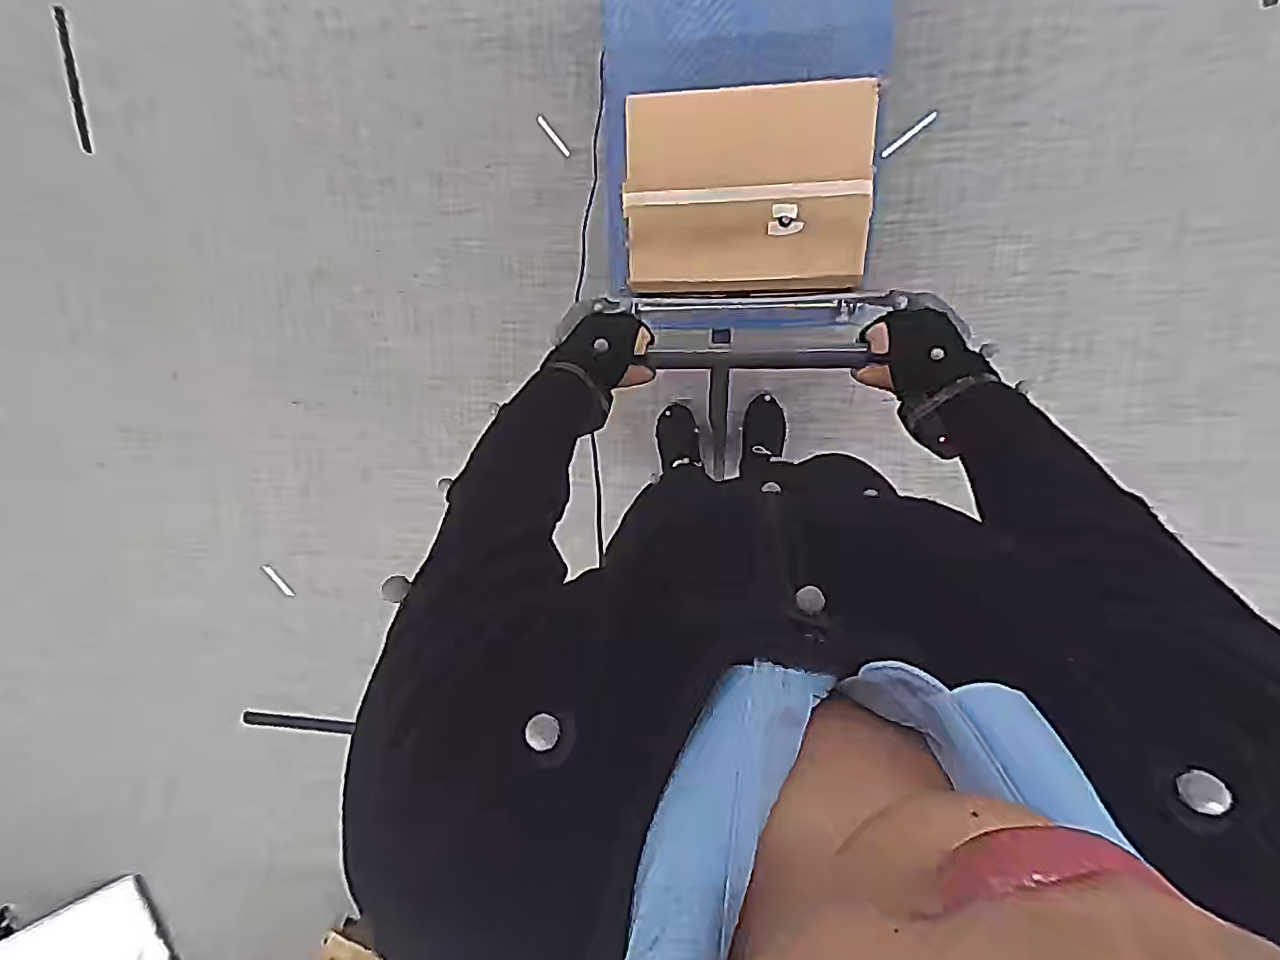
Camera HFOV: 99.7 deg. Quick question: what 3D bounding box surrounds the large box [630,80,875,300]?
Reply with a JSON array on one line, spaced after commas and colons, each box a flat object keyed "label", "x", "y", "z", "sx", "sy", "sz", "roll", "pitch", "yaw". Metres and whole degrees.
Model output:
[{"label": "large box", "x": 0.201, "y": -0.533, "z": 1.070, "sx": 0.408, "sy": 0.320, "sz": 0.320, "roll": 1, "pitch": 107, "yaw": 7}]
